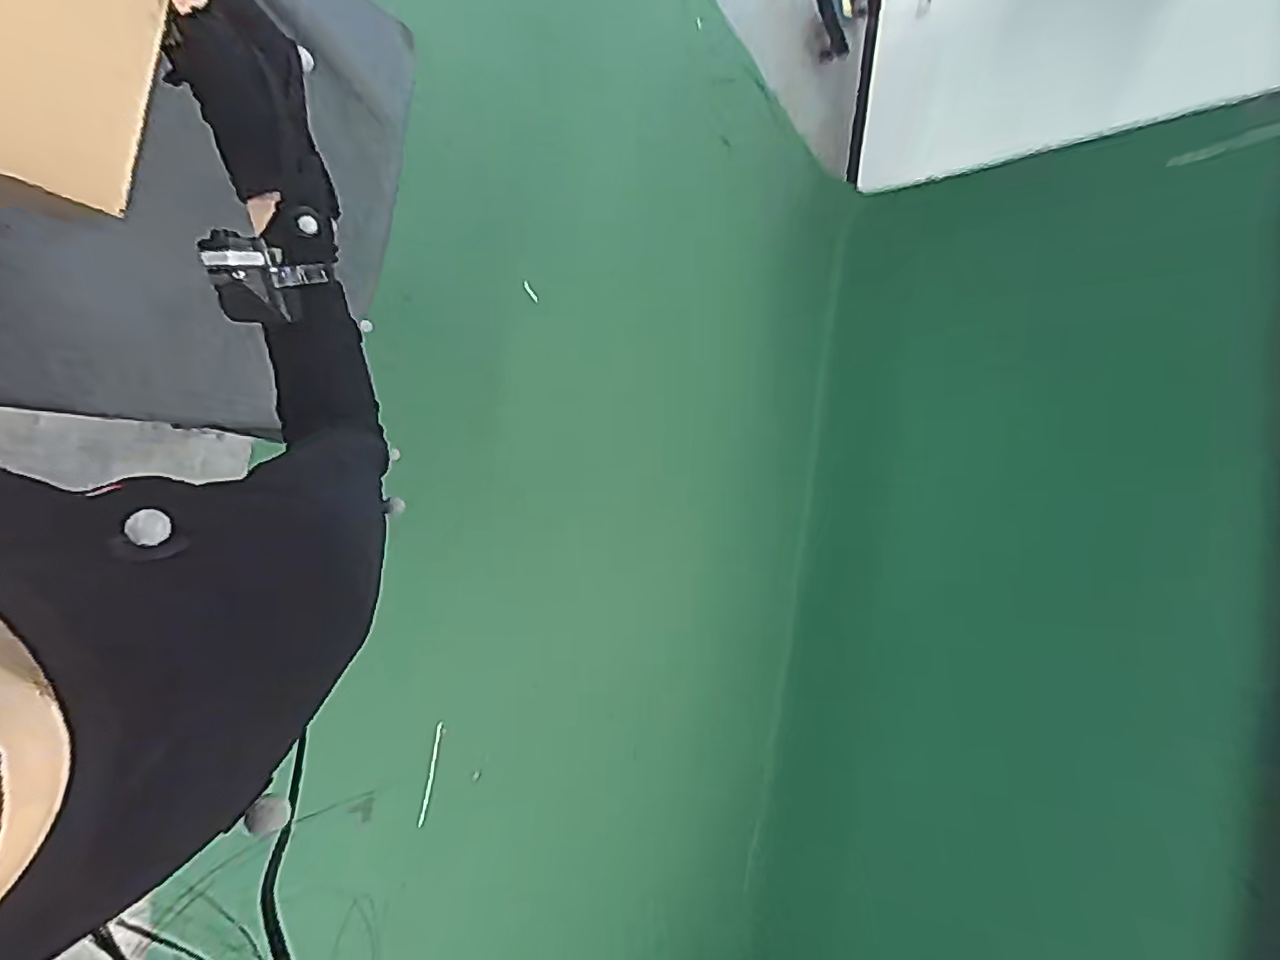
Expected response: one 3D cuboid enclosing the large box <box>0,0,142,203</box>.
[{"bbox_3d":[-0.515,-0.373,0.246,0.408,0.320,0.320,10,97,-53],"label":"large box"}]
